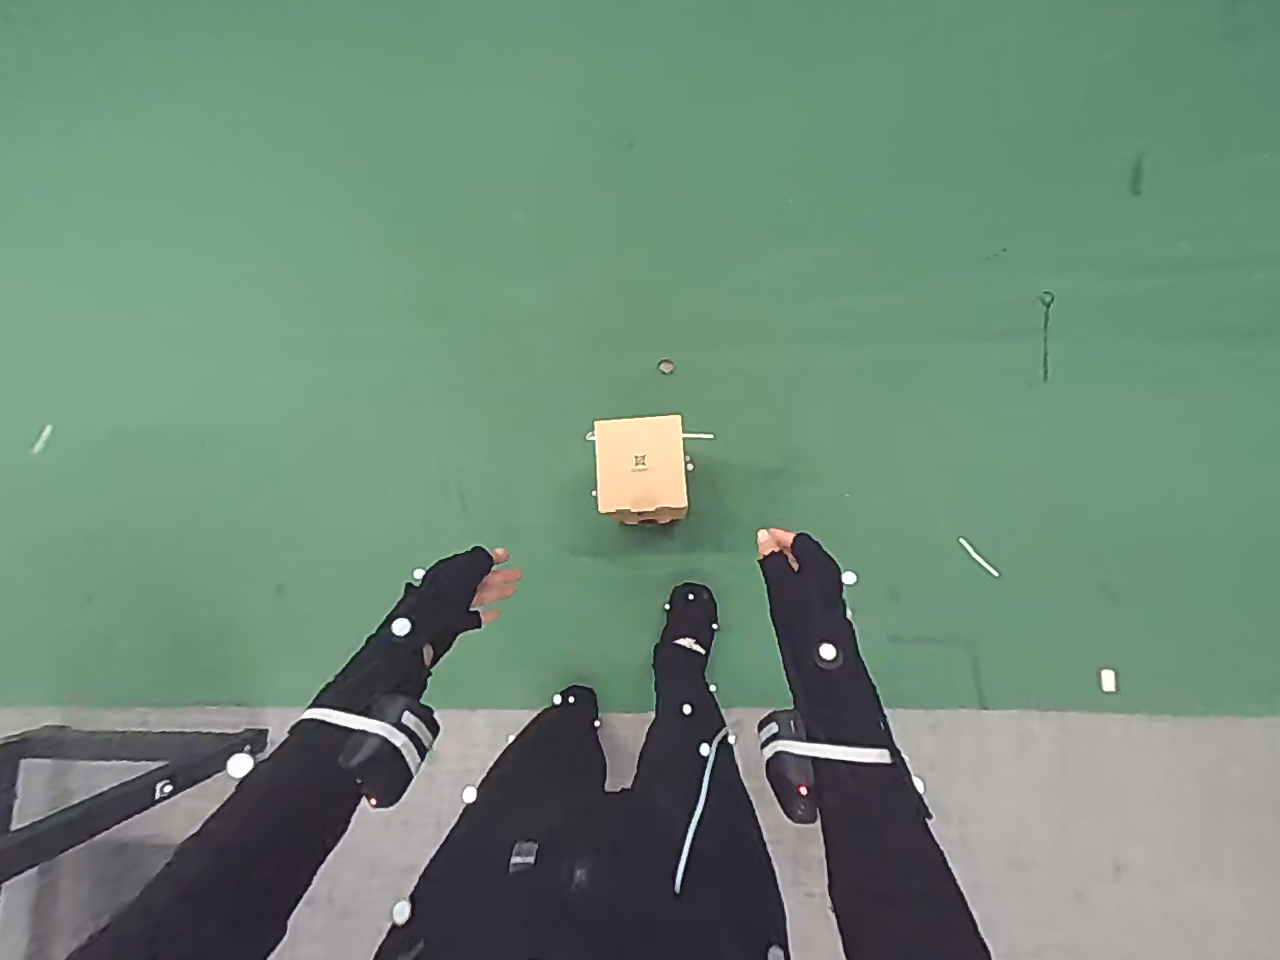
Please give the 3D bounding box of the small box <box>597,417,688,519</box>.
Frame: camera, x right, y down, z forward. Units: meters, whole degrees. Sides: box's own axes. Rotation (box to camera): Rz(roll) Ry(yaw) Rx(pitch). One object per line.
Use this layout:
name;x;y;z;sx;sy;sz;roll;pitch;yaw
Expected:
small box;0.006;-0.018;1.085;0.168;0.176;0.179;-4;83;3

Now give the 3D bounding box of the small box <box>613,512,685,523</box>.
small box;0.018;0.004;1.246;0.168;0.176;0.179;-2;82;4
